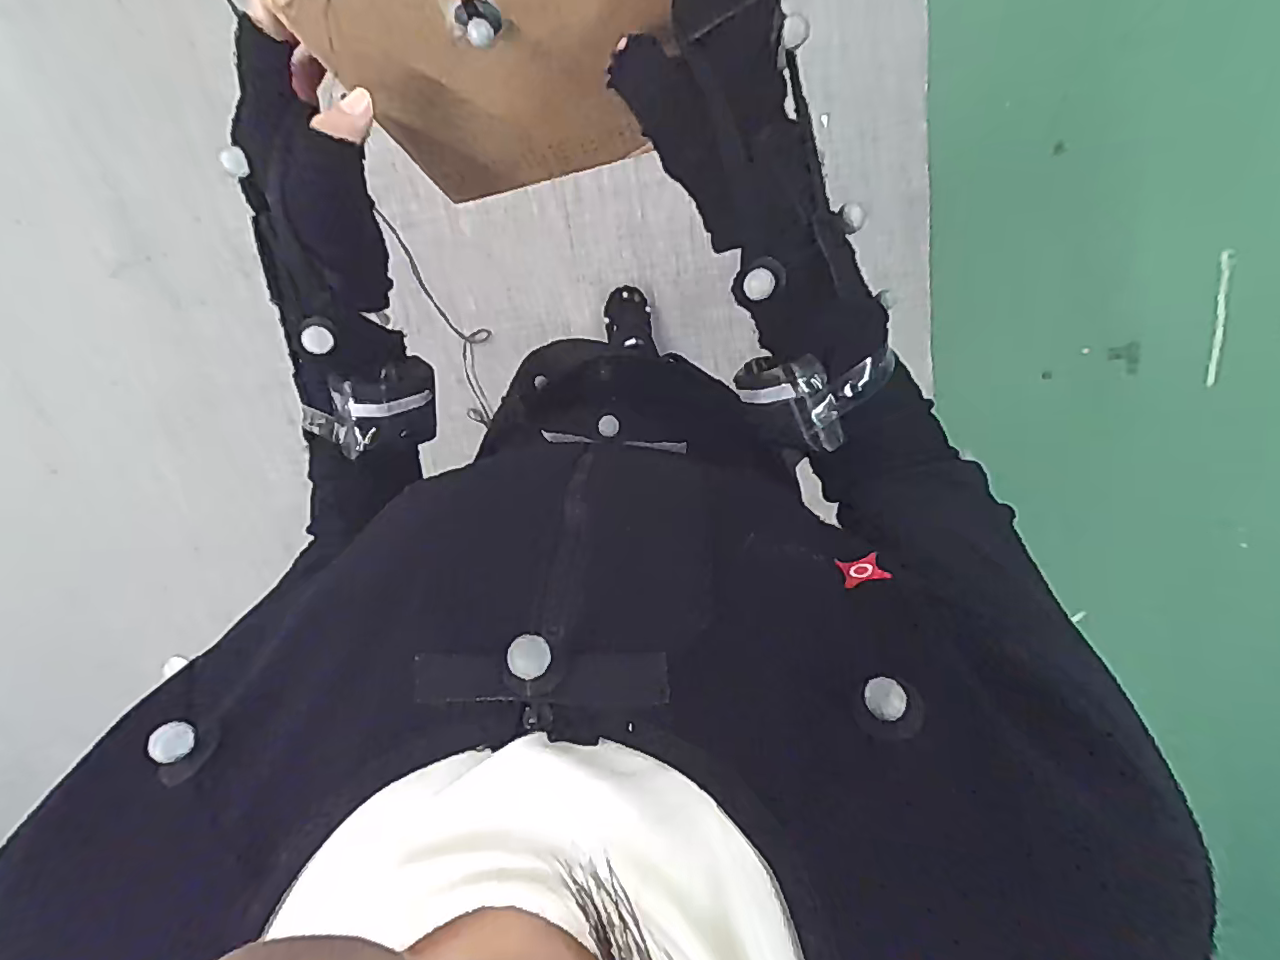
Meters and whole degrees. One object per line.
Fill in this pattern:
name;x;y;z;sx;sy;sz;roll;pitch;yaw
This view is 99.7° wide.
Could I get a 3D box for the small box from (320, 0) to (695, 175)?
small box;-0.072;-0.306;0.300;0.179;0.176;0.168;-9;86;9
